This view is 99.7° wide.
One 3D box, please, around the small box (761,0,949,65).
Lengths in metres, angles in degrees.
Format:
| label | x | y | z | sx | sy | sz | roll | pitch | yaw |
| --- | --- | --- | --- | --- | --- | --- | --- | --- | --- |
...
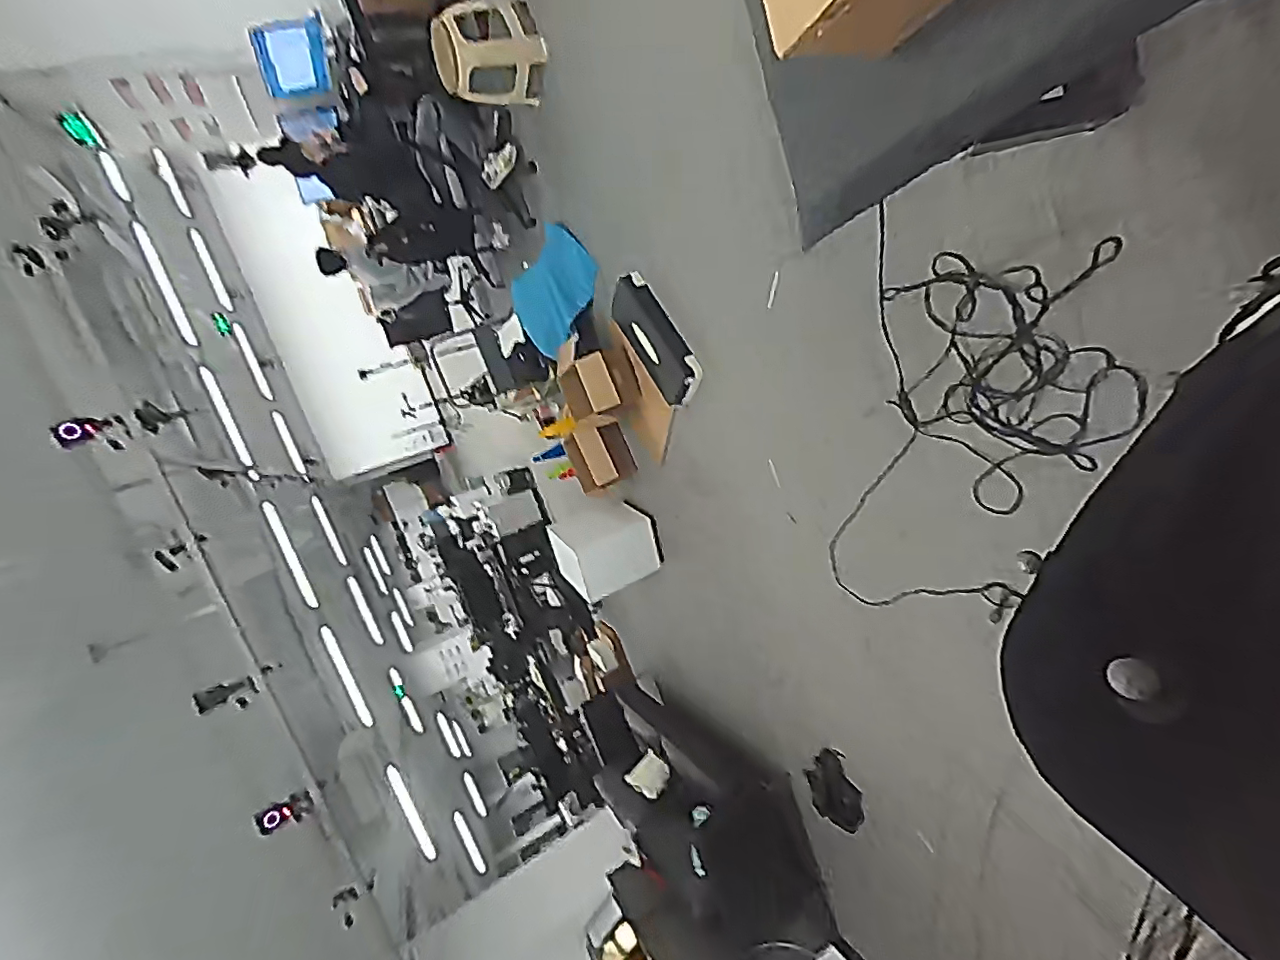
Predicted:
| label | x | y | z | sx | sy | sz | roll | pitch | yaw |
| --- | --- | --- | --- | --- | --- | --- | --- | --- | --- |
| small box | 0.218 | -0.524 | 0.490 | 0.168 | 0.176 | 0.179 | 4 | 113 | 63 |
